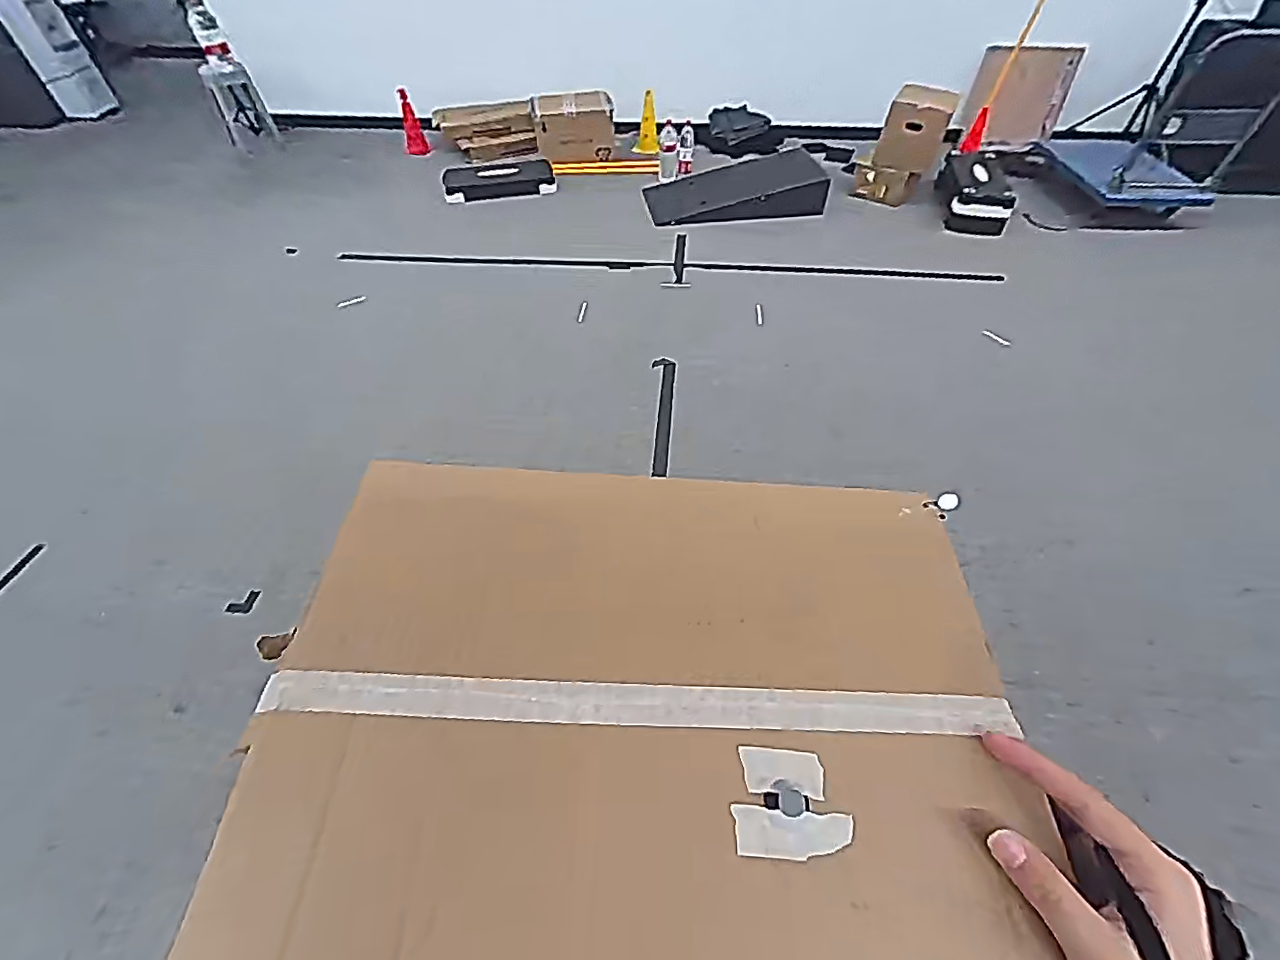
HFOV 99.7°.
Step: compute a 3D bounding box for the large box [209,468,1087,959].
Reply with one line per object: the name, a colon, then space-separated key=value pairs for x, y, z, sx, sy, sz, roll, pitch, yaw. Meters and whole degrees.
large box: x=0.002 y=0.213 z=0.429 sx=0.408 sy=0.320 sz=0.320 roll=4 pitch=54 yaw=-3
